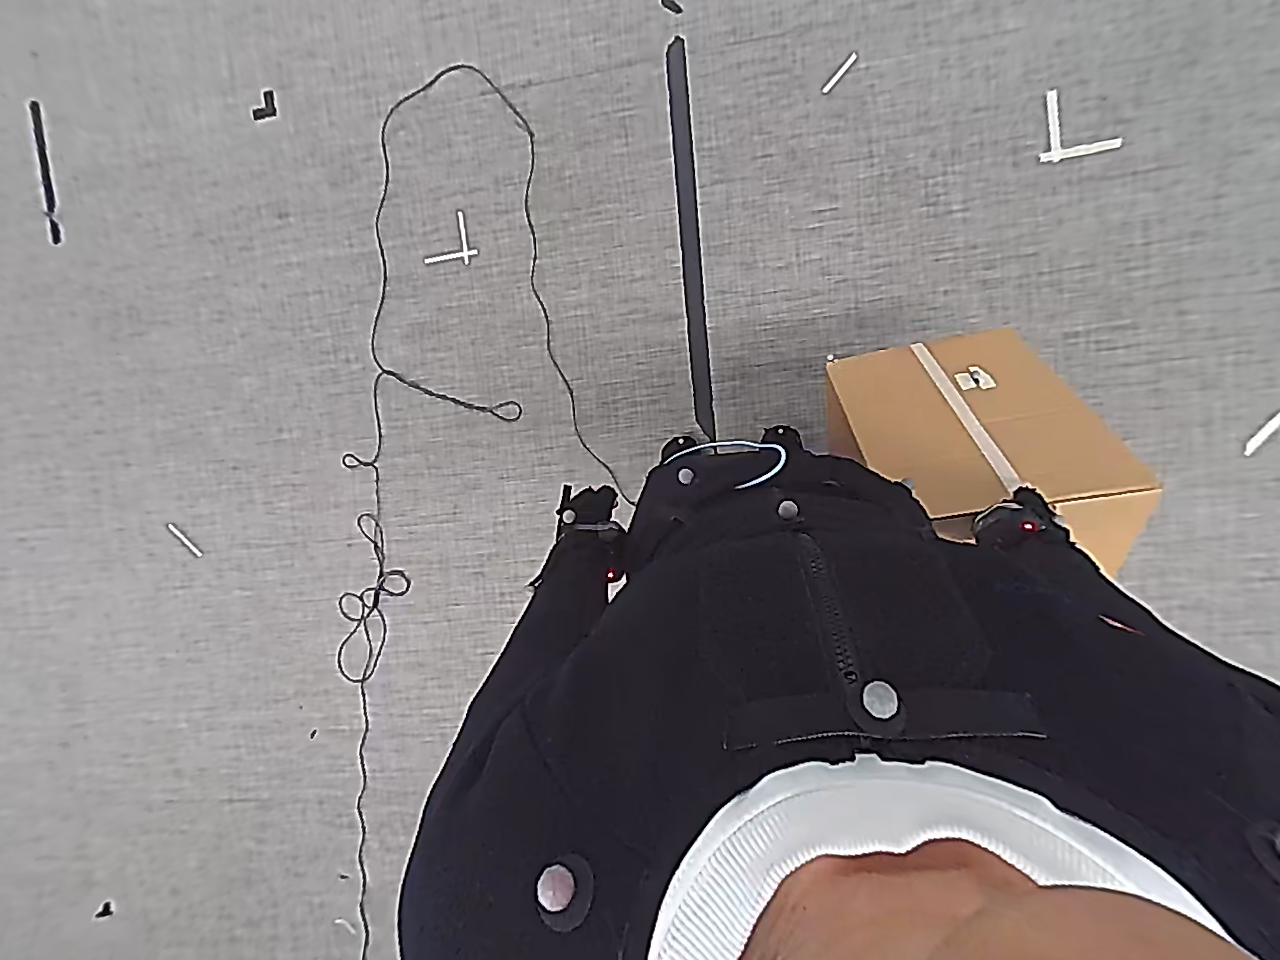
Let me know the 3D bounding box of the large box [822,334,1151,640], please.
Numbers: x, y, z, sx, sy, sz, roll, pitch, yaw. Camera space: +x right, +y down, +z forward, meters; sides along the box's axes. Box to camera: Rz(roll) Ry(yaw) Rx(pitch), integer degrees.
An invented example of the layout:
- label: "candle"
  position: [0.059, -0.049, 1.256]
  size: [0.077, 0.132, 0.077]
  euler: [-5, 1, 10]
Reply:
- label: "large box"
  position: [0.524, 0.007, 0.932]
  size: [0.320, 0.408, 0.320]
  euler: [-9, 131, 9]
